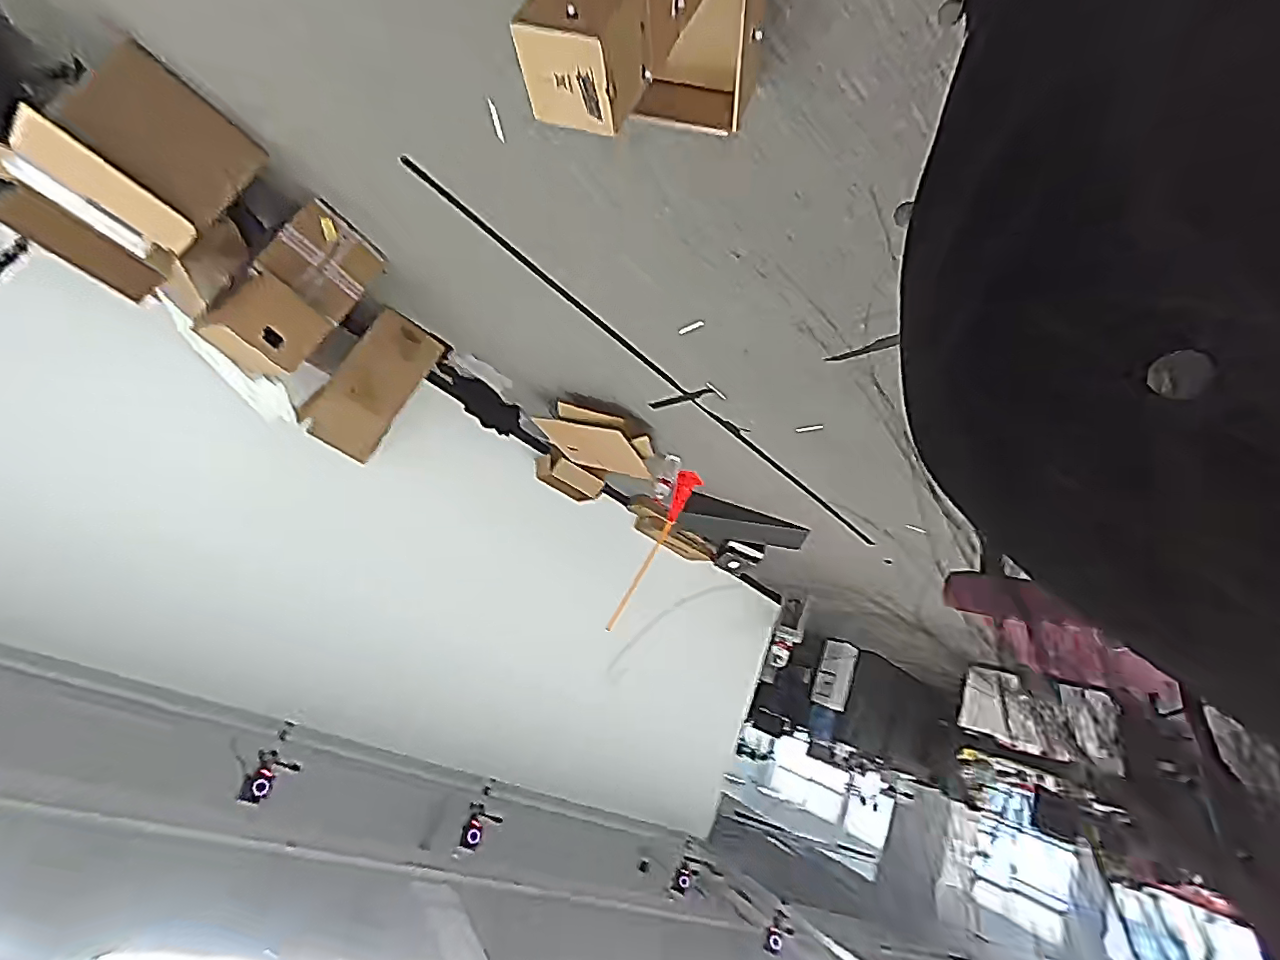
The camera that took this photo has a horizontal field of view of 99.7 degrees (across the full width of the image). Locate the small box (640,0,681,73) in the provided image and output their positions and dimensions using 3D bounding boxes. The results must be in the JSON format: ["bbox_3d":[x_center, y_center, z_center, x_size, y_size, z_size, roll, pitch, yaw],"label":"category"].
[{"bbox_3d":[-0.033,-0.914,1.009,0.179,0.176,0.168,20,162,11],"label":"small box"}]

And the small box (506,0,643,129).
[{"bbox_3d":[-0.102,-0.773,0.960,0.179,0.176,0.168,21,162,13],"label":"small box"}]
